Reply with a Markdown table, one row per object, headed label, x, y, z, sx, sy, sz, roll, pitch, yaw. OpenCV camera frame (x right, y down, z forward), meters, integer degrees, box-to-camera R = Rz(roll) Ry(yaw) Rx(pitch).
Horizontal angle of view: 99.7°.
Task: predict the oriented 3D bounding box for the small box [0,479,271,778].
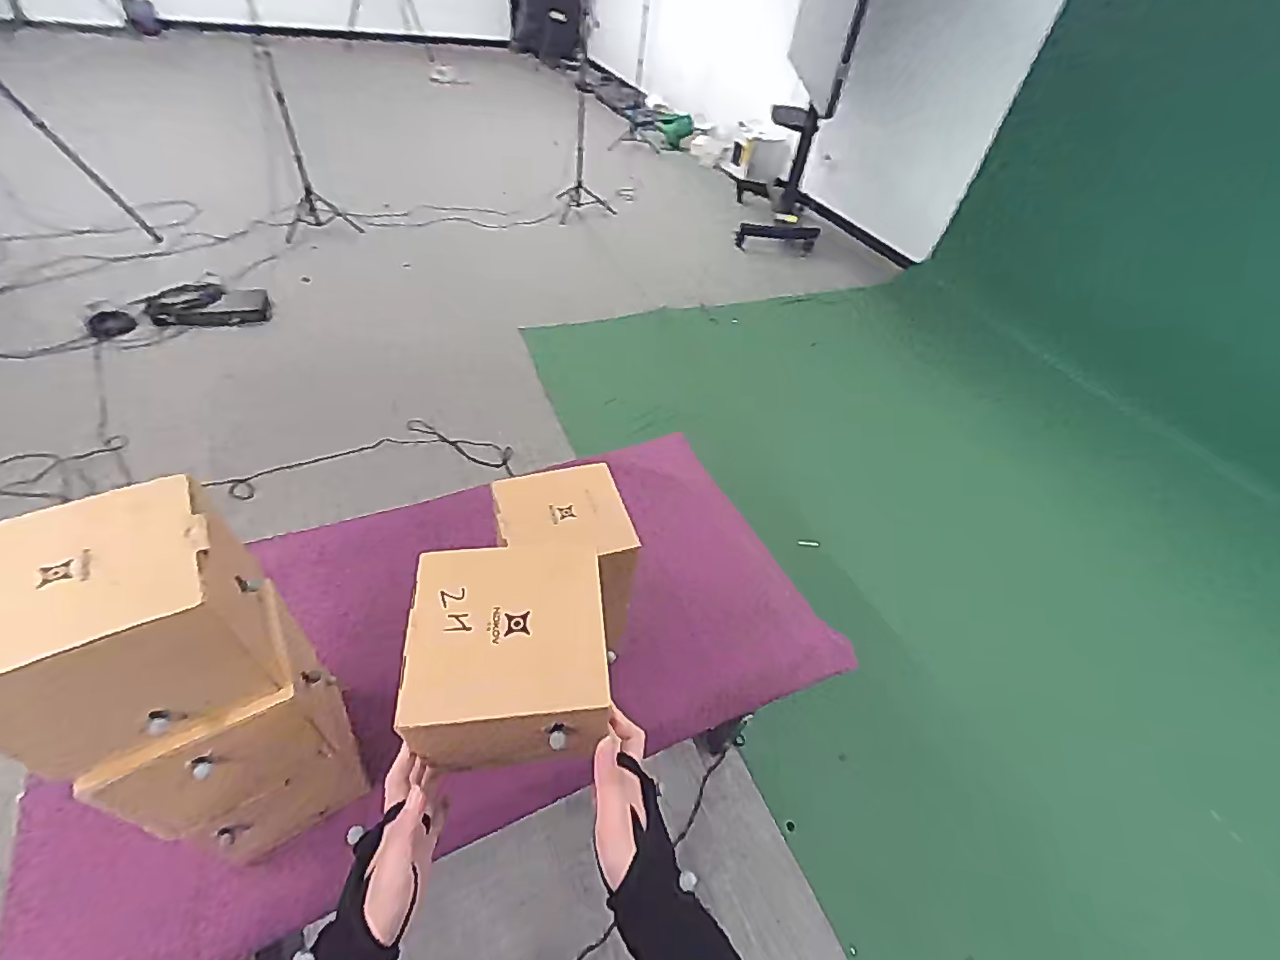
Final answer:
| label | x | y | z | sx | sy | sz | roll | pitch | yaw |
| --- | --- | --- | --- | --- | --- | --- | --- | --- | --- |
| small box | -0.468 | 0.133 | 0.497 | 0.179 | 0.176 | 0.168 | -21 | 52 | -26 |

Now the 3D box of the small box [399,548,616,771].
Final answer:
| label | x | y | z | sx | sy | sz | roll | pitch | yaw |
| --- | --- | --- | --- | --- | --- | --- | --- | --- | --- |
| small box | -0.122 | 0.184 | 0.551 | 0.179 | 0.176 | 0.168 | -2 | 50 | -8 |

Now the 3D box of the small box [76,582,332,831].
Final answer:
| label | x | y | z | sx | sy | sz | roll | pitch | yaw |
| --- | --- | --- | --- | --- | --- | --- | --- | --- | --- |
| small box | -0.471 | 0.253 | 0.610 | 0.179 | 0.176 | 0.168 | -22 | 53 | -26 |

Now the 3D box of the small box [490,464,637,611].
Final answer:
| label | x | y | z | sx | sy | sz | roll | pitch | yaw |
| --- | --- | --- | --- | --- | --- | --- | --- | --- | --- |
| small box | -0.118 | 0.102 | 0.811 | 0.179 | 0.176 | 0.168 | -10 | 51 | -18 |
